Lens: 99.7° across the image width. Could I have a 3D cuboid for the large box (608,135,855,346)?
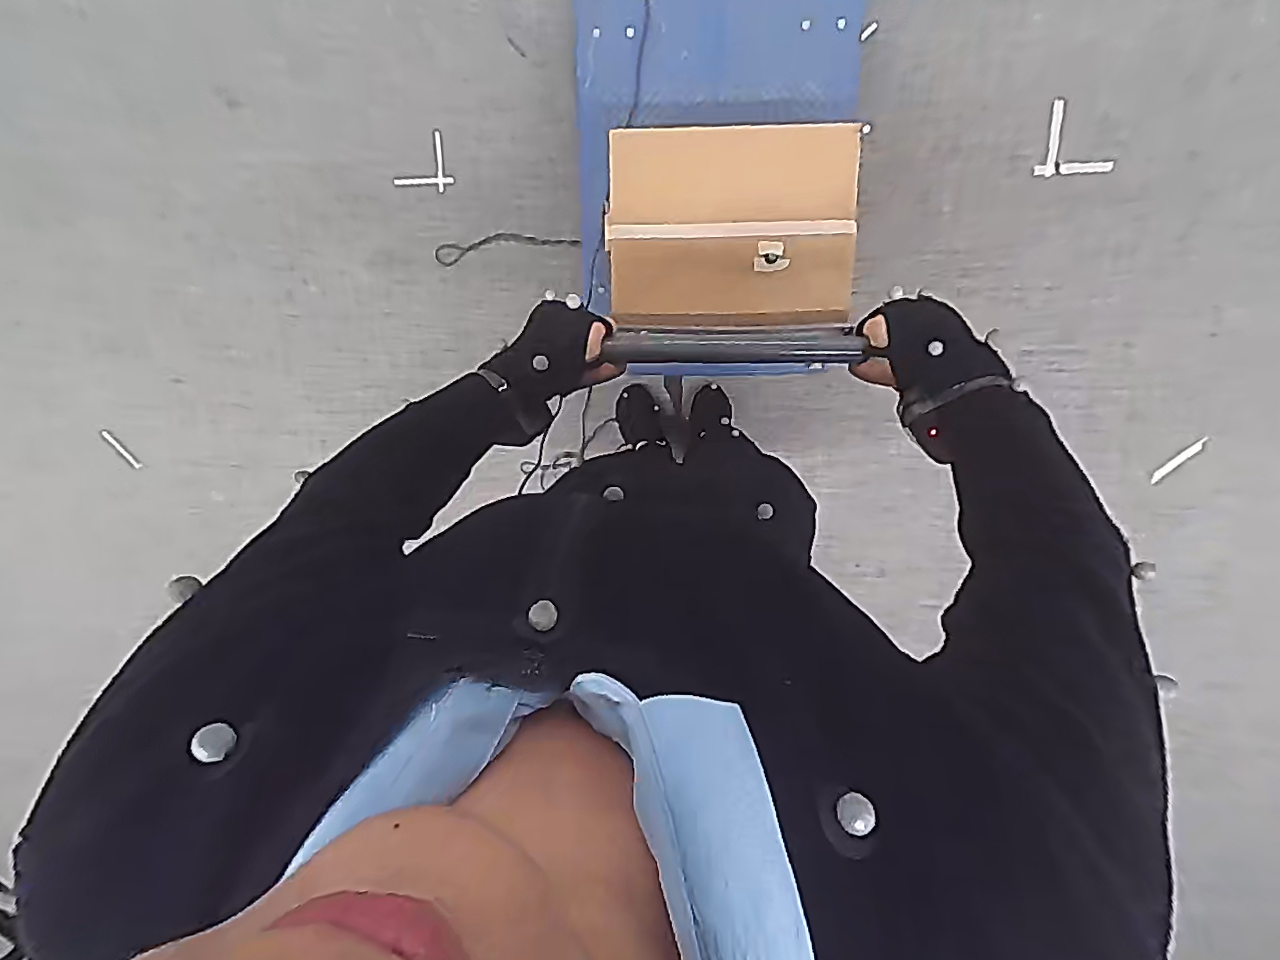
[{"bbox_3d":[0.152,-0.429,1.046,0.408,0.320,0.320,1,102,2],"label":"large box"}]
